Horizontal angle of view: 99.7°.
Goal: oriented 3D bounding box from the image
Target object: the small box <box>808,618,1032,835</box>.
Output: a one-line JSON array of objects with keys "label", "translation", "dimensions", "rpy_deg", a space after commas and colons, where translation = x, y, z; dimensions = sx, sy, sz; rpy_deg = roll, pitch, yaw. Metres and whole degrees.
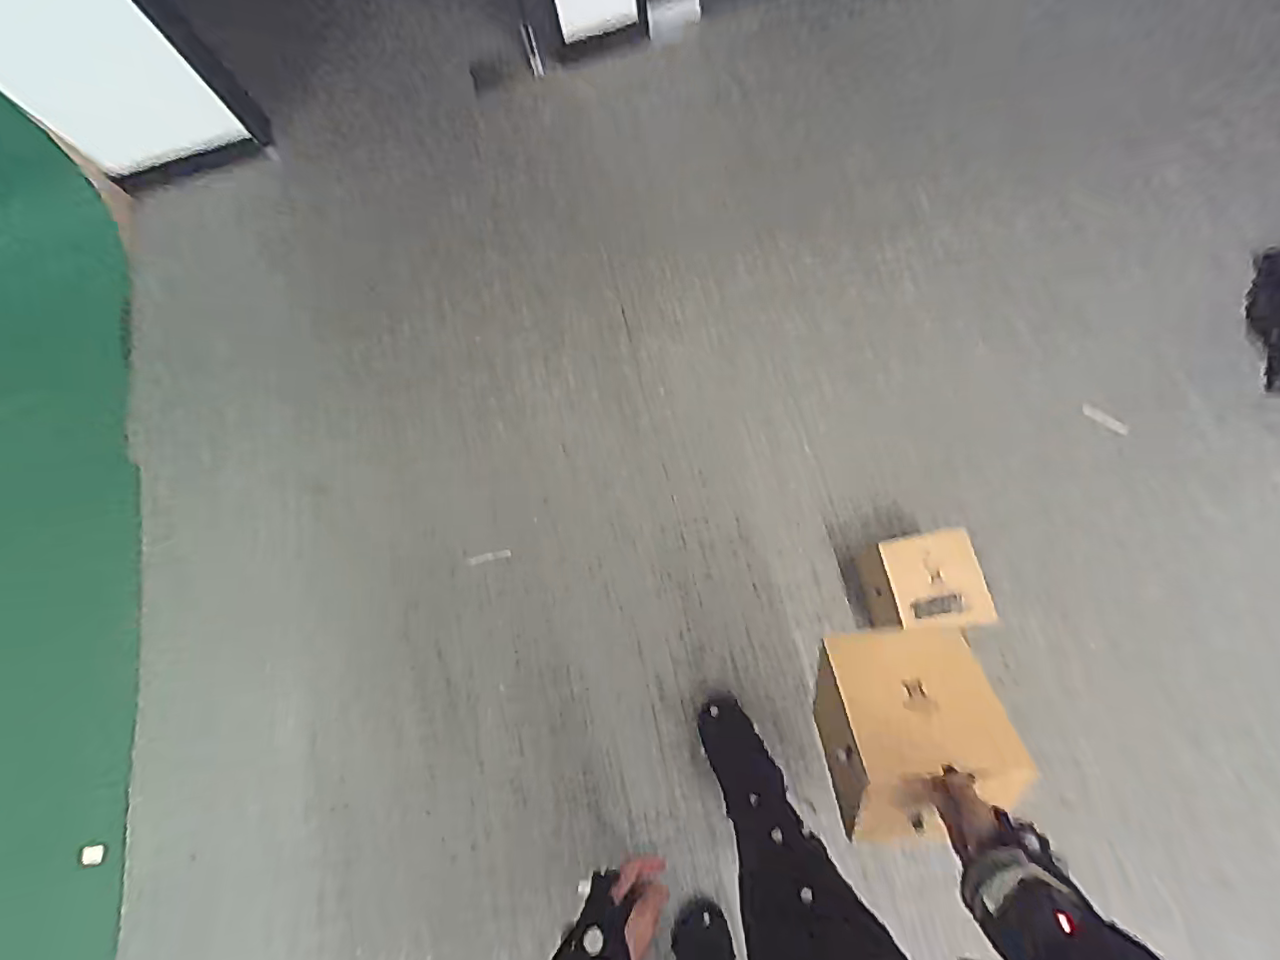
[{"label": "small box", "translation": [0.306, 0.289, 0.641], "dimensions": [0.168, 0.176, 0.179], "rpy_deg": [-5, 38, 3]}]
